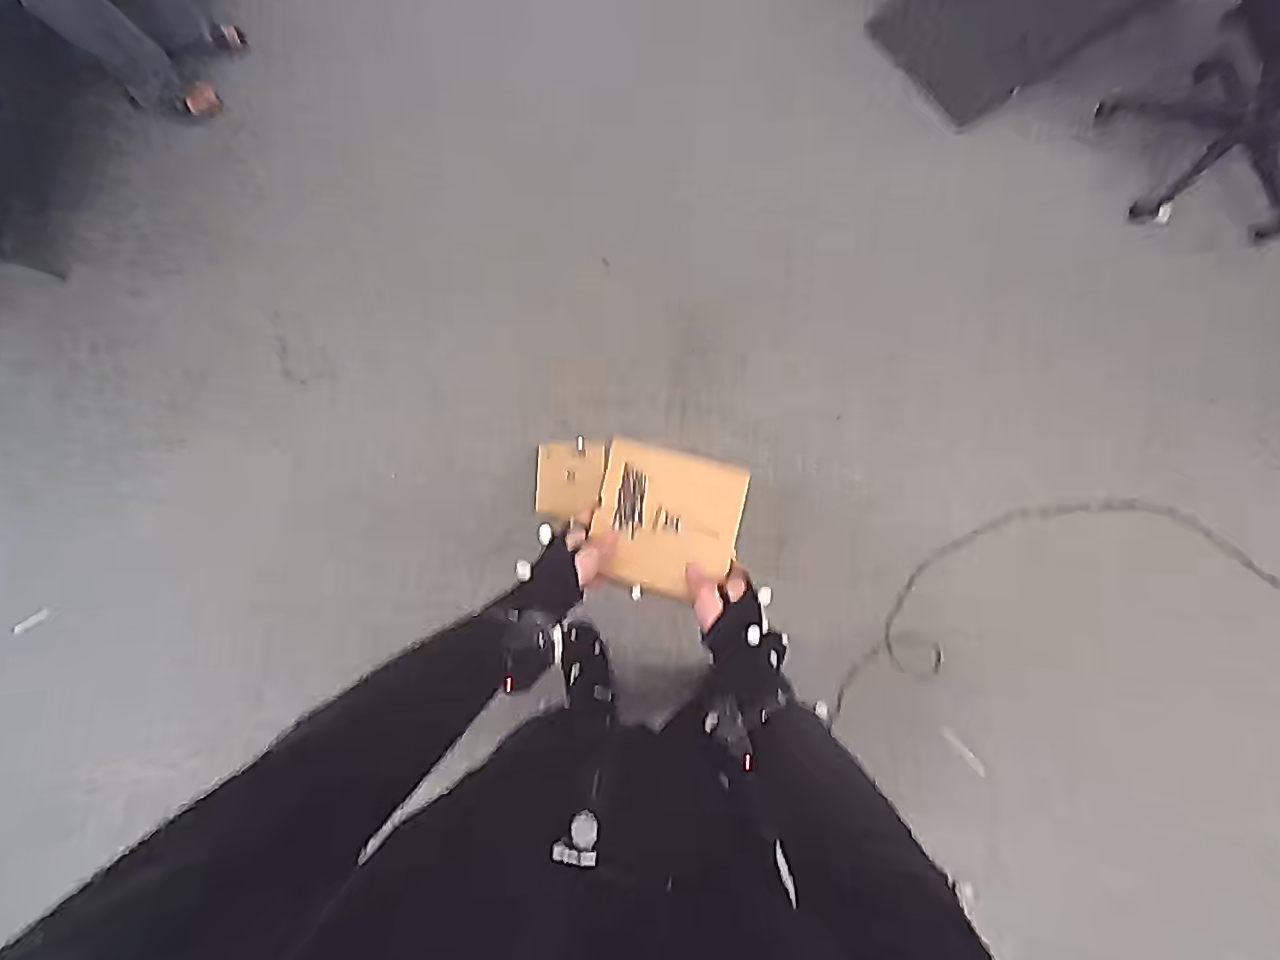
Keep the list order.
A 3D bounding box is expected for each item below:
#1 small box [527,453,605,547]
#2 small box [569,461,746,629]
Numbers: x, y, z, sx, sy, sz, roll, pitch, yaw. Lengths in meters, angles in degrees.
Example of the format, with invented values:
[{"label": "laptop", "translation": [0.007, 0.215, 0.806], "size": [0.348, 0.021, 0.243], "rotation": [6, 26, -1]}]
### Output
[{"label": "small box", "translation": [-0.166, 0.059, 1.411], "size": [0.179, 0.176, 0.168], "rotation": [-29, 75, -5]}, {"label": "small box", "translation": [0.027, 0.096, 0.728], "size": [0.179, 0.176, 0.168], "rotation": [18, 76, 8]}]
